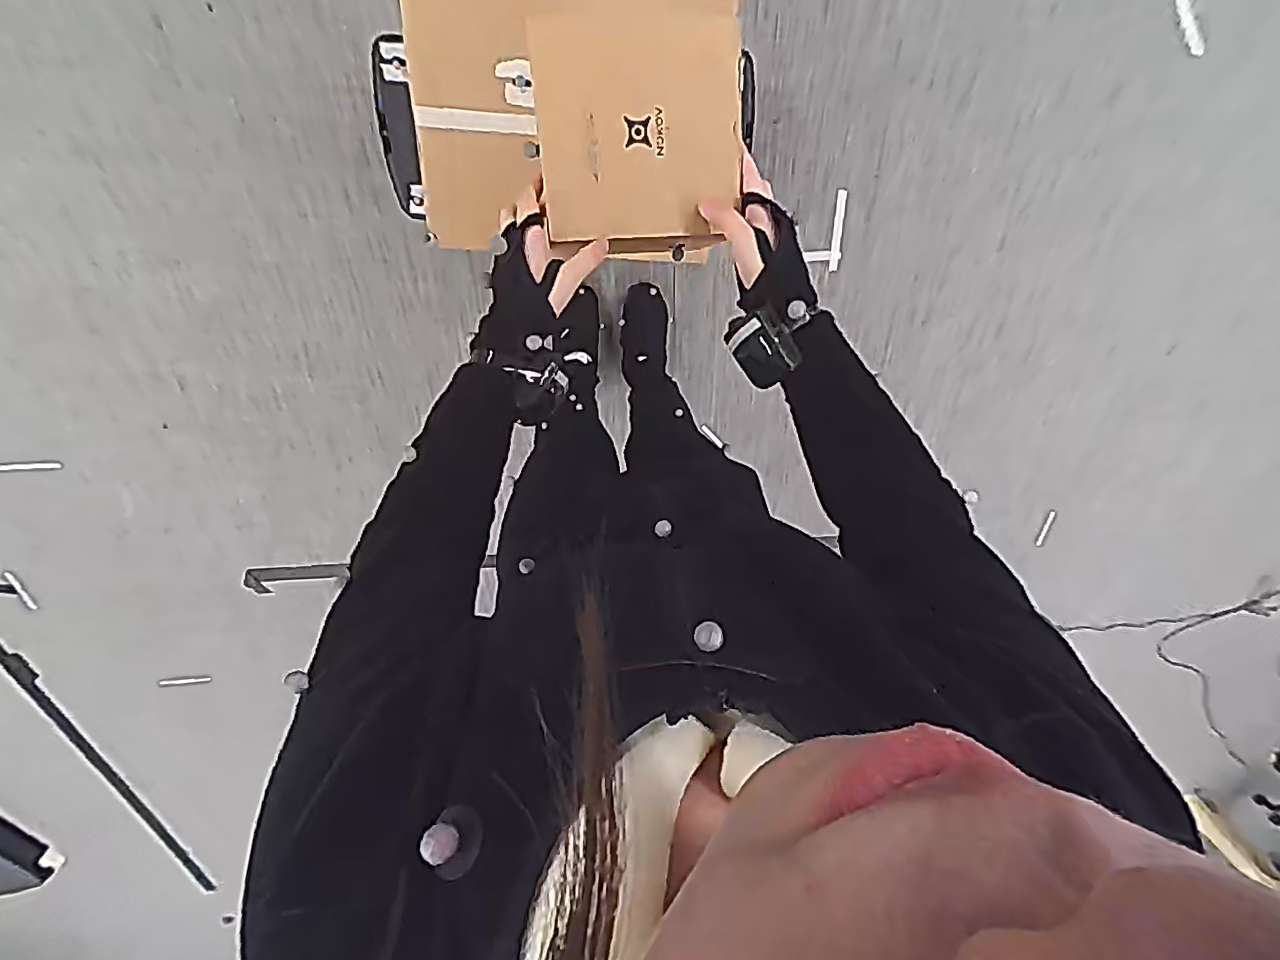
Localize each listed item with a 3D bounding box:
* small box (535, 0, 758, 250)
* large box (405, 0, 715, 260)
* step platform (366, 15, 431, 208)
[{"bbox_3d":[-0.003,-0.314,0.508,0.179,0.176,0.168,-5,108,-7],"label":"small box"},{"bbox_3d":[-0.092,-0.534,0.829,0.408,0.320,0.320,1,120,-6],"label":"large box"},{"bbox_3d":[-0.141,-0.651,1.033,0.684,0.204,0.286,3,120,-7],"label":"step platform"}]
